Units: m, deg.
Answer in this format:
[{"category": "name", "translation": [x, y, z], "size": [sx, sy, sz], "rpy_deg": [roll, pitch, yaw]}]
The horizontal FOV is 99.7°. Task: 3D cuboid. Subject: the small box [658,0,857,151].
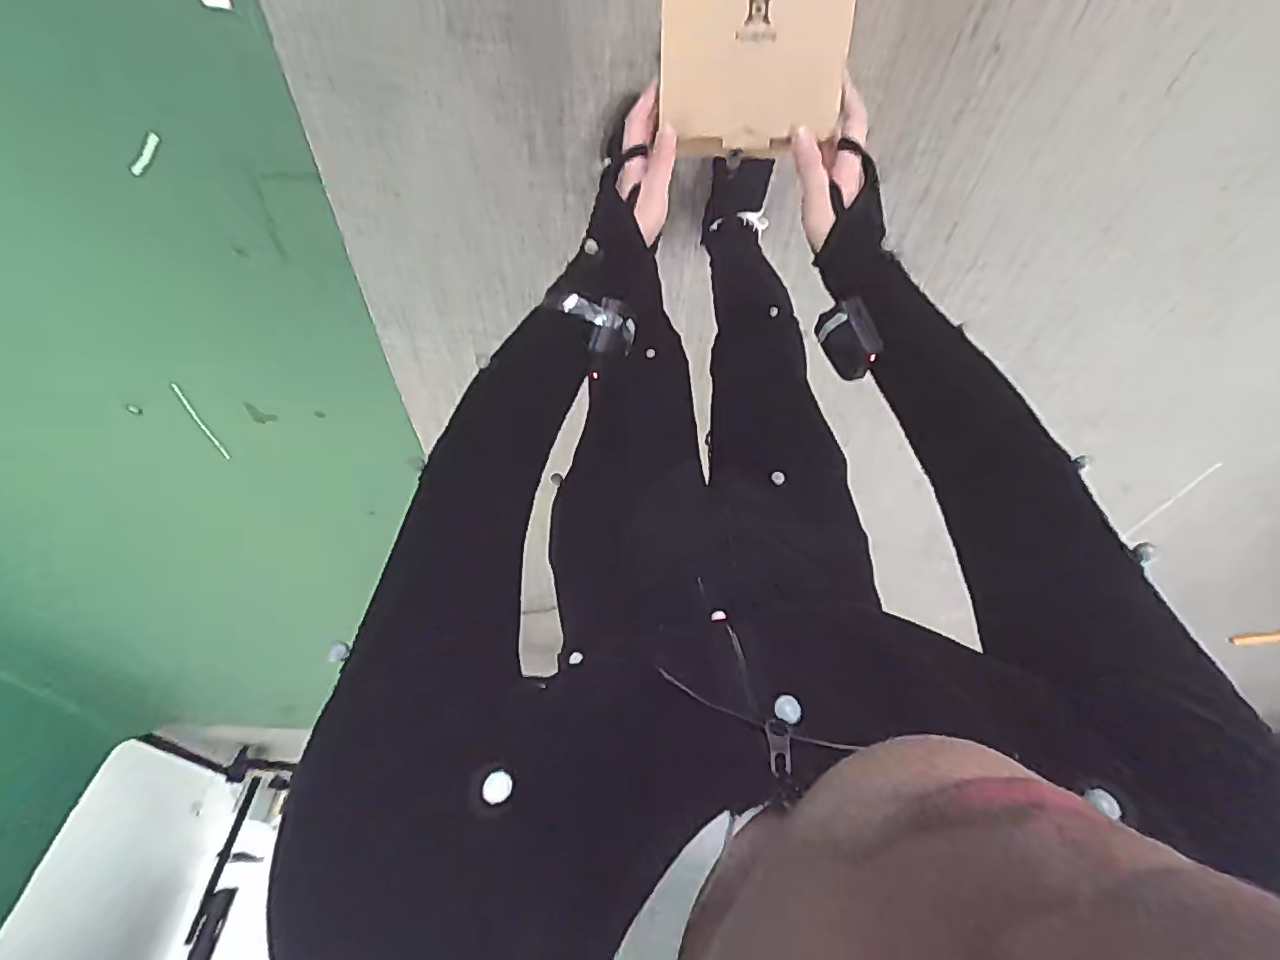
[{"category": "small box", "translation": [0.103, -0.431, 0.533], "size": [0.168, 0.176, 0.179], "rpy_deg": [1, 118, 1]}]
